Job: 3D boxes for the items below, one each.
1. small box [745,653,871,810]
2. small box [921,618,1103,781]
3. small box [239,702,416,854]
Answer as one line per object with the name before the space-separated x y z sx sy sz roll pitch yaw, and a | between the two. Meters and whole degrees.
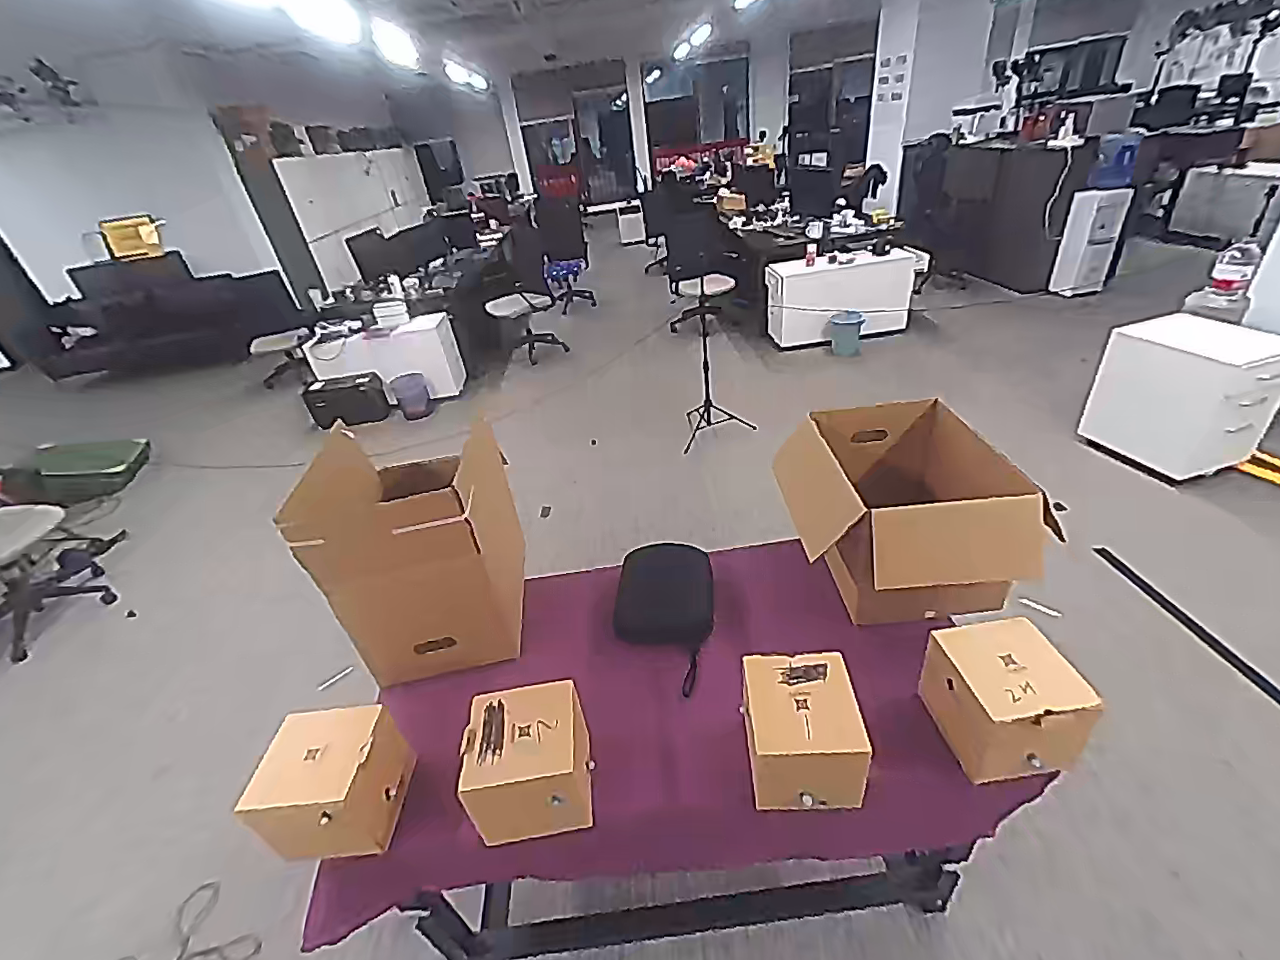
small box | 0.263 0.411 0.891 0.168 0.176 0.179 -5 34 6
small box | 0.592 0.359 0.892 0.168 0.176 0.179 -9 33 1
small box | -0.515 0.508 0.921 0.179 0.176 0.168 -6 33 1
